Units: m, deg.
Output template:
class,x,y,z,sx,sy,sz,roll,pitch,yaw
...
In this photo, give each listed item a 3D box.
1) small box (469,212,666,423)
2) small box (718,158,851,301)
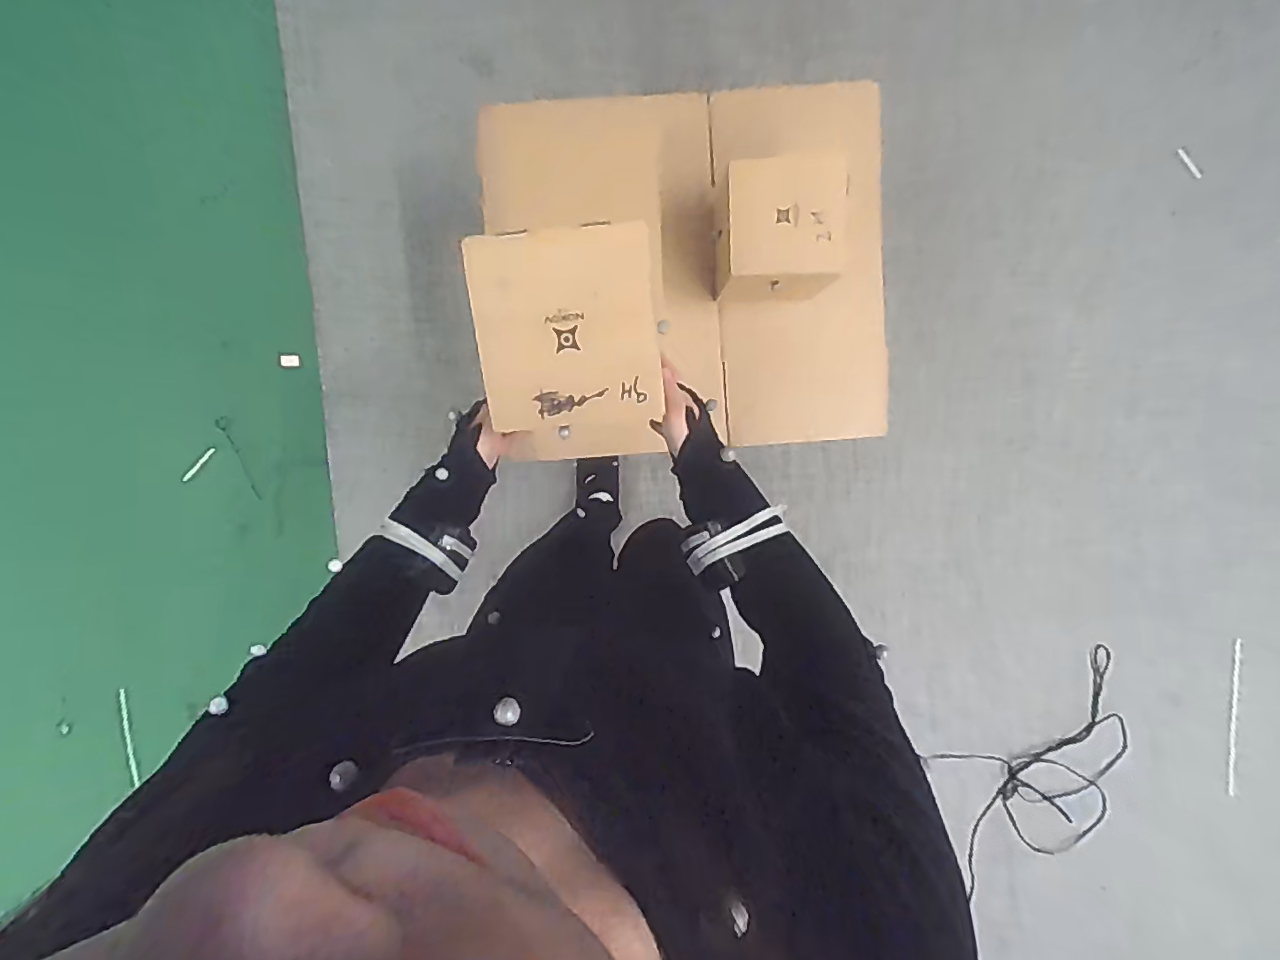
class,x,y,z,sx,sy,sz,roll,pitch,yaw
small box,-0.064,-0.159,0.570,0.168,0.176,0.179,-5,101,2
small box,0.220,-0.388,0.864,0.179,0.176,0.168,-1,96,1
